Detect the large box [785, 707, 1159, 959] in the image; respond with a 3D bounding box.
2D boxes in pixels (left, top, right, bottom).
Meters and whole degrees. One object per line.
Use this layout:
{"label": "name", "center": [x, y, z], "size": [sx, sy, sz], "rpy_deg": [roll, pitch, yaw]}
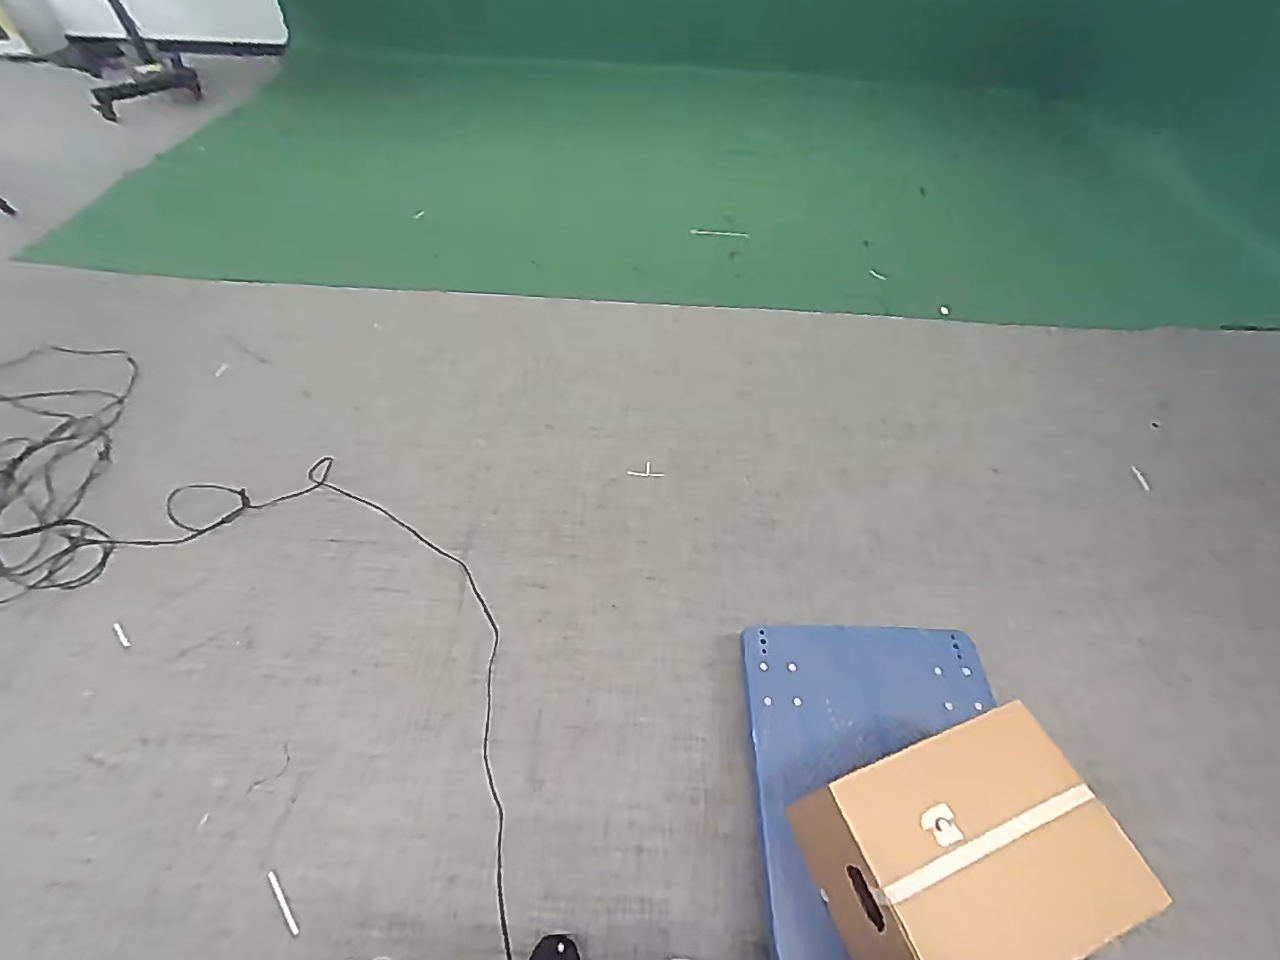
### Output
{"label": "large box", "center": [0.533, 0.658, 0.955], "size": [0.408, 0.320, 0.320], "rpy_deg": [-15, 54, -12]}
